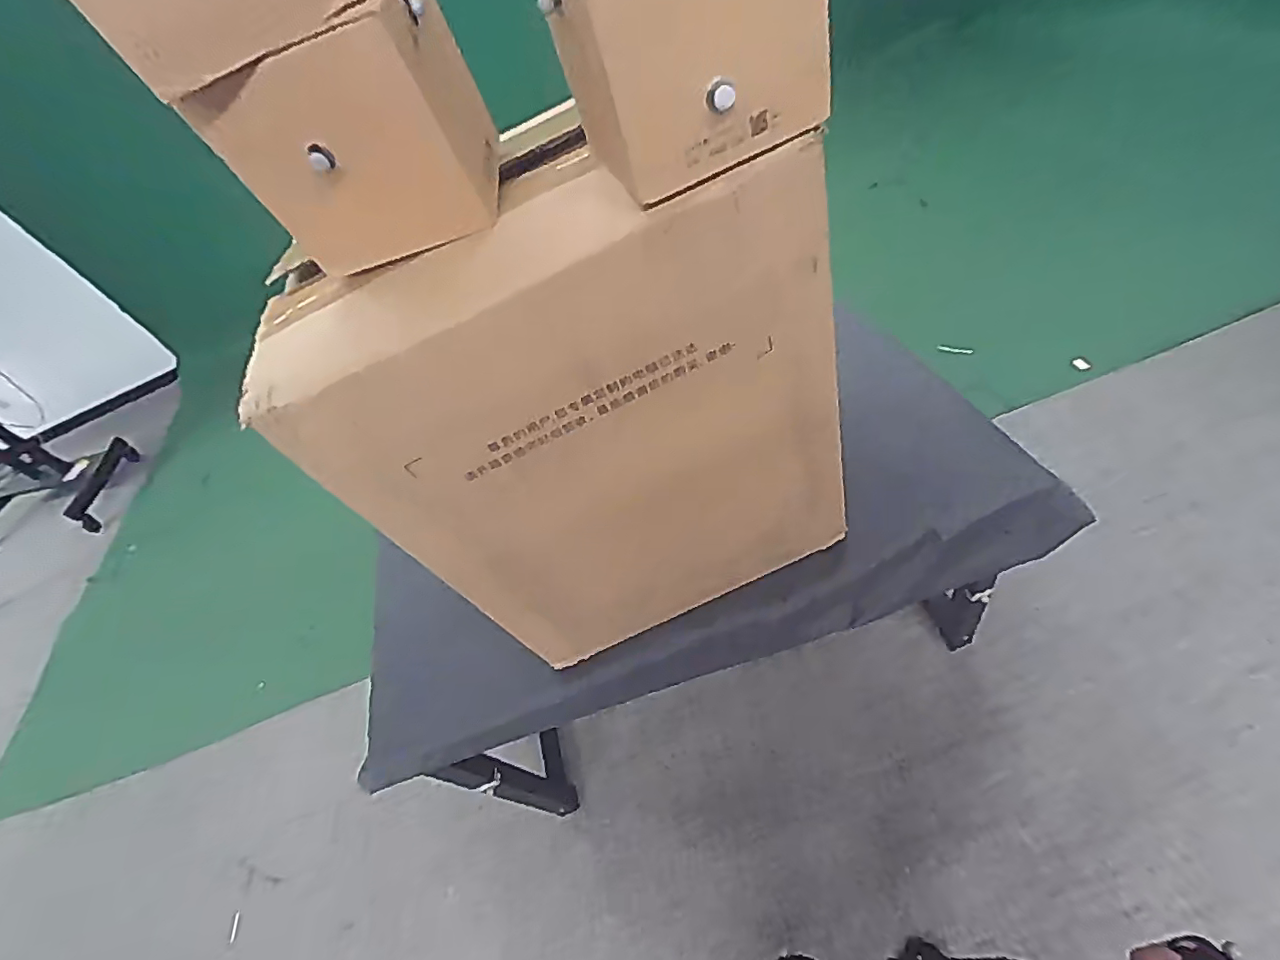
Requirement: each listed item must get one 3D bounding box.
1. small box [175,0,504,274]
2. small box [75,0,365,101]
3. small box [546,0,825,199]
[{"bbox_3d":[-0.244,-0.318,0.487,0.179,0.176,0.168,-14,58,10],"label":"small box"},{"bbox_3d":[-0.302,-0.393,0.354,0.179,0.176,0.168,-28,57,-1],"label":"small box"},{"bbox_3d":[0.027,-0.354,0.423,0.168,0.176,0.179,-25,49,1],"label":"small box"}]
